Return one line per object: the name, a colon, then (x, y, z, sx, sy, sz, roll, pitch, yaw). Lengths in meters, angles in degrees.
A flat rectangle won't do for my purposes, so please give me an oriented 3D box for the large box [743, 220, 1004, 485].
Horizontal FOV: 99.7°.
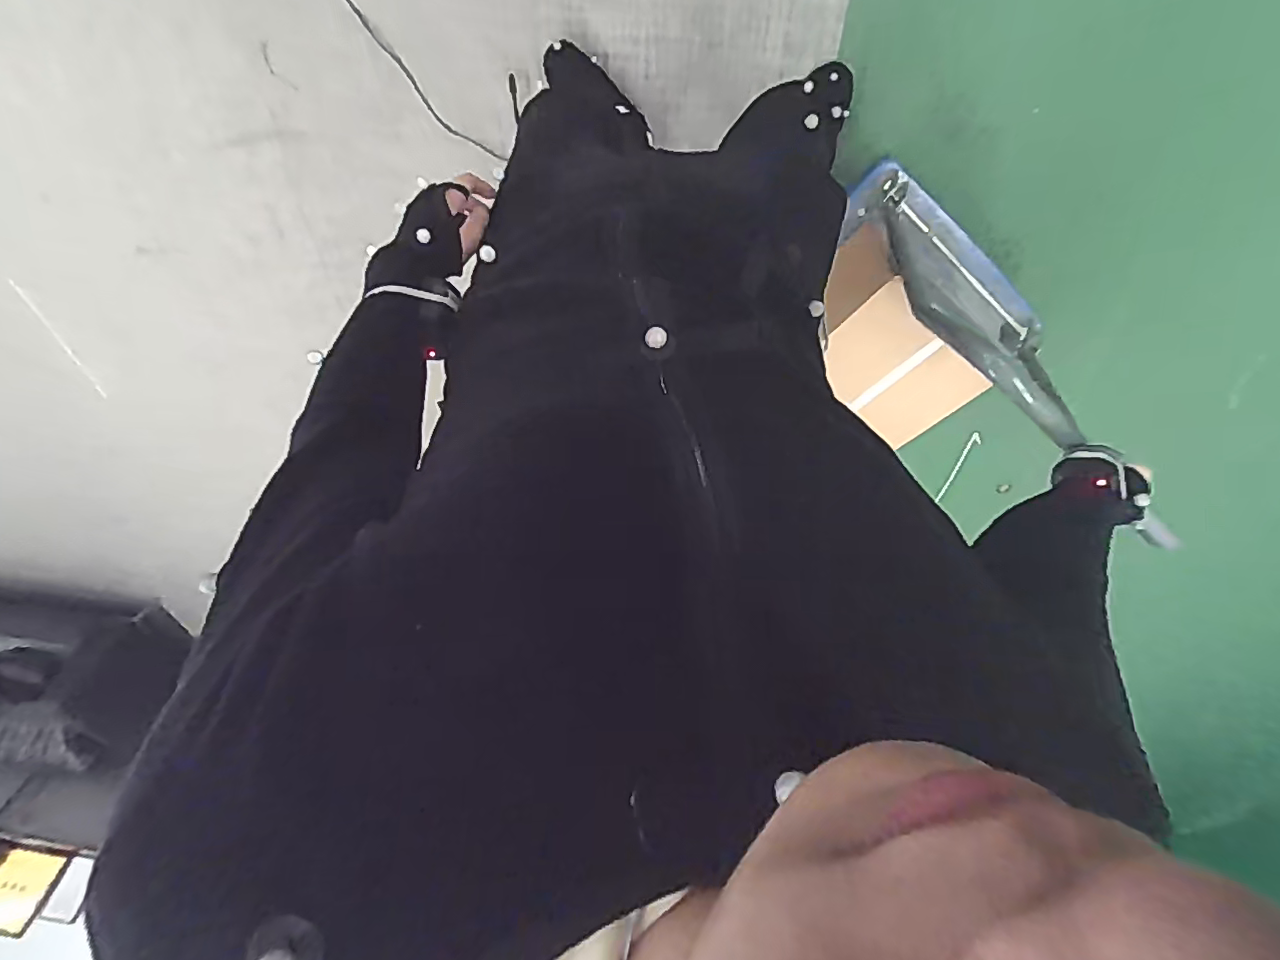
large box: (0.474, -0.271, 1.195, 0.320, 0.320, 0.408, 32, 130, -17)
